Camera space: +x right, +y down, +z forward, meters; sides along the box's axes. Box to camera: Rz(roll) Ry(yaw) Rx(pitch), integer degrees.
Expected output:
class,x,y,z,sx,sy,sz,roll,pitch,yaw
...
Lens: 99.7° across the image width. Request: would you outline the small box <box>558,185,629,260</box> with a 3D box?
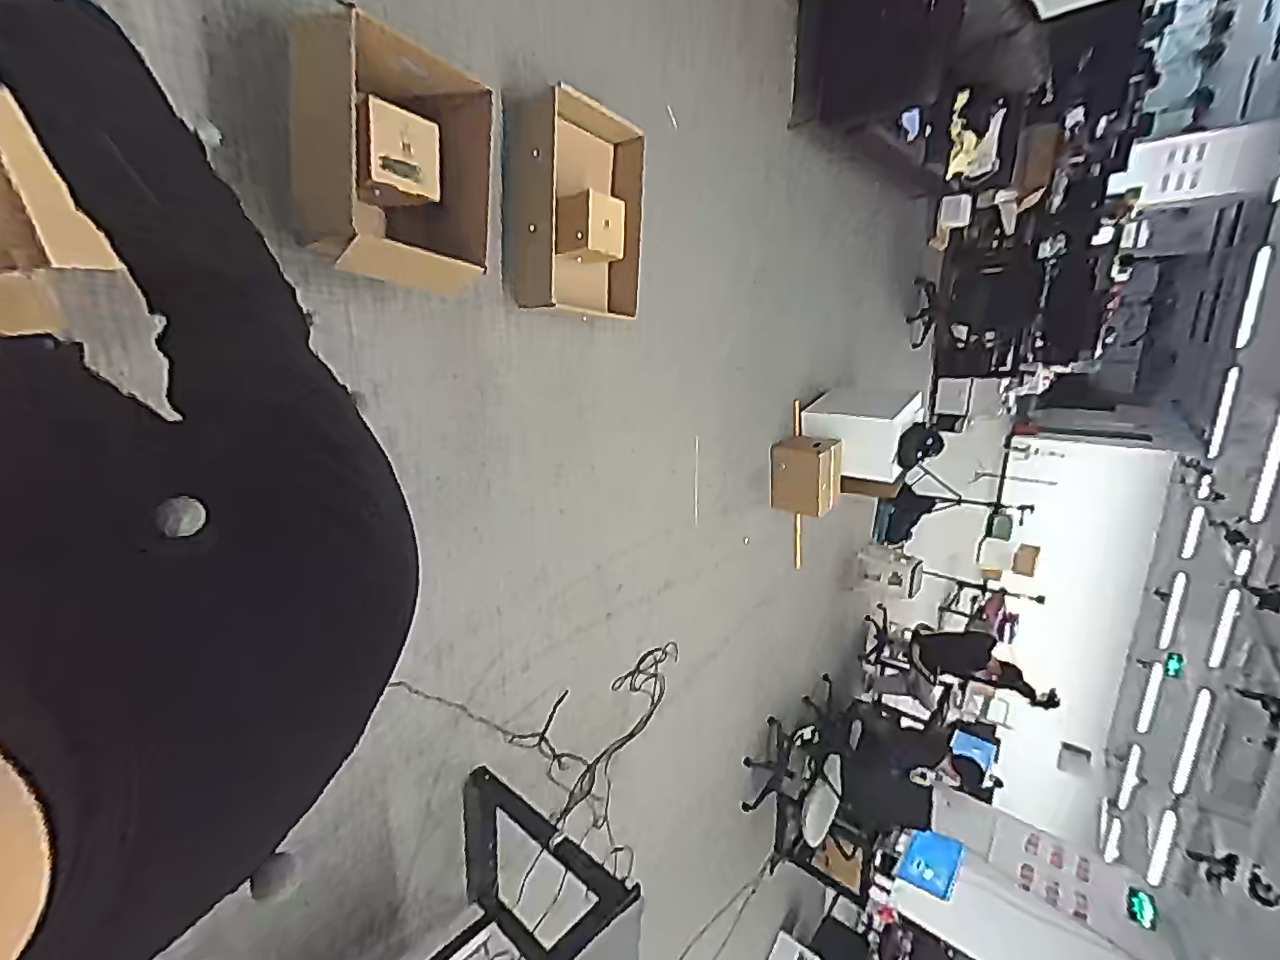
class,x,y,z,sx,sy,sz,roll,pitch,yaw
small box,-0.152,-0.829,1.759,0.168,0.176,0.179,-10,107,-49
